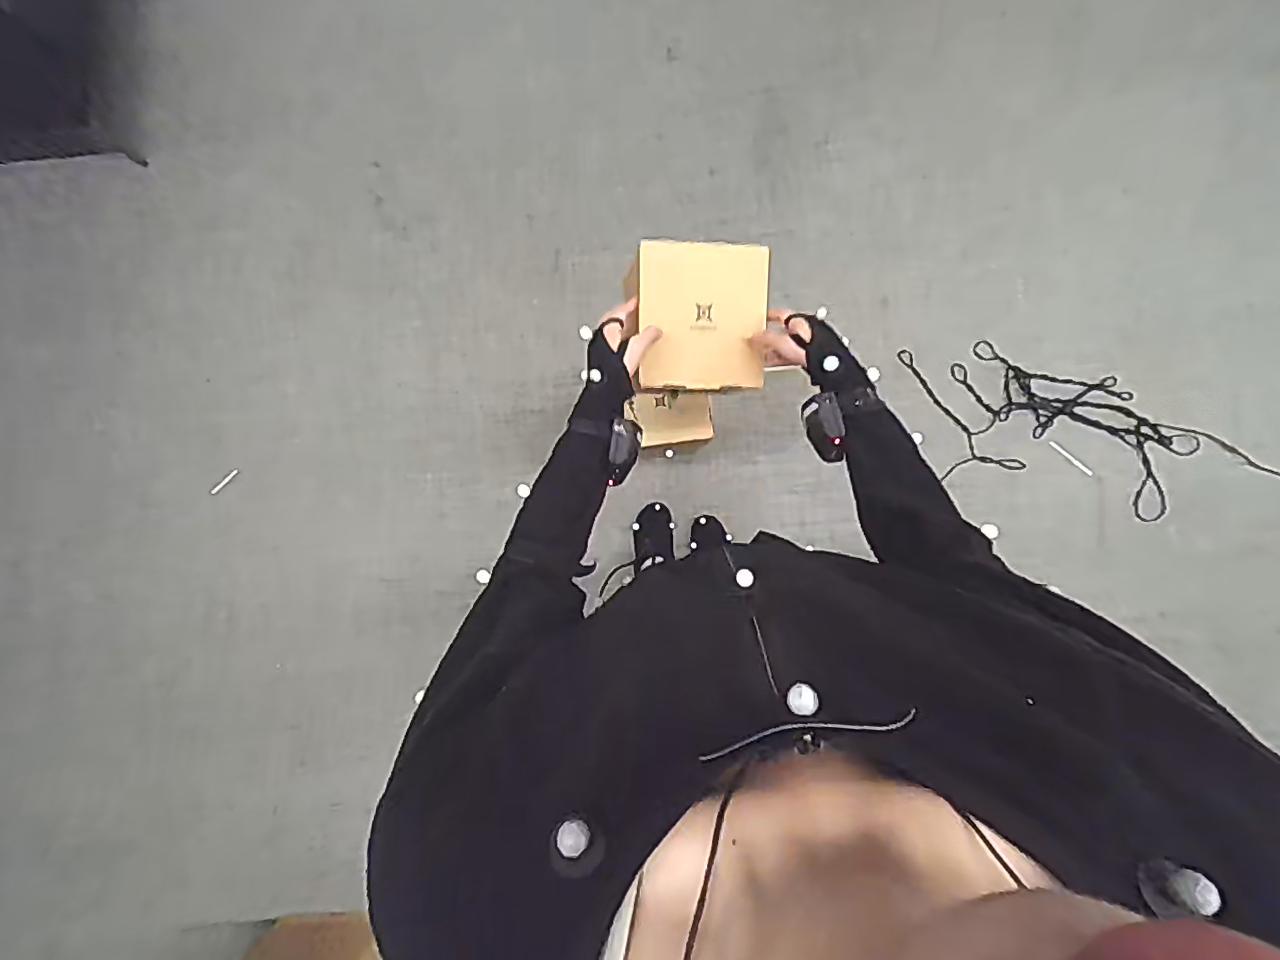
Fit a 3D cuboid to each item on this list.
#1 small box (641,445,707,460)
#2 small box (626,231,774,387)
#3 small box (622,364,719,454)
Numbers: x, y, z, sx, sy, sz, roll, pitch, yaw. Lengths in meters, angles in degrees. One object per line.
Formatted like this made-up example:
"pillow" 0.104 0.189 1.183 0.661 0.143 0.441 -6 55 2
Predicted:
"small box" 0.082 -0.148 1.448 0.179 0.176 0.168 -5 87 2
"small box" 0.071 -0.220 0.738 0.168 0.176 0.179 -1 99 -8
"small box" 0.060 -0.148 1.121 0.179 0.176 0.168 -6 87 2
